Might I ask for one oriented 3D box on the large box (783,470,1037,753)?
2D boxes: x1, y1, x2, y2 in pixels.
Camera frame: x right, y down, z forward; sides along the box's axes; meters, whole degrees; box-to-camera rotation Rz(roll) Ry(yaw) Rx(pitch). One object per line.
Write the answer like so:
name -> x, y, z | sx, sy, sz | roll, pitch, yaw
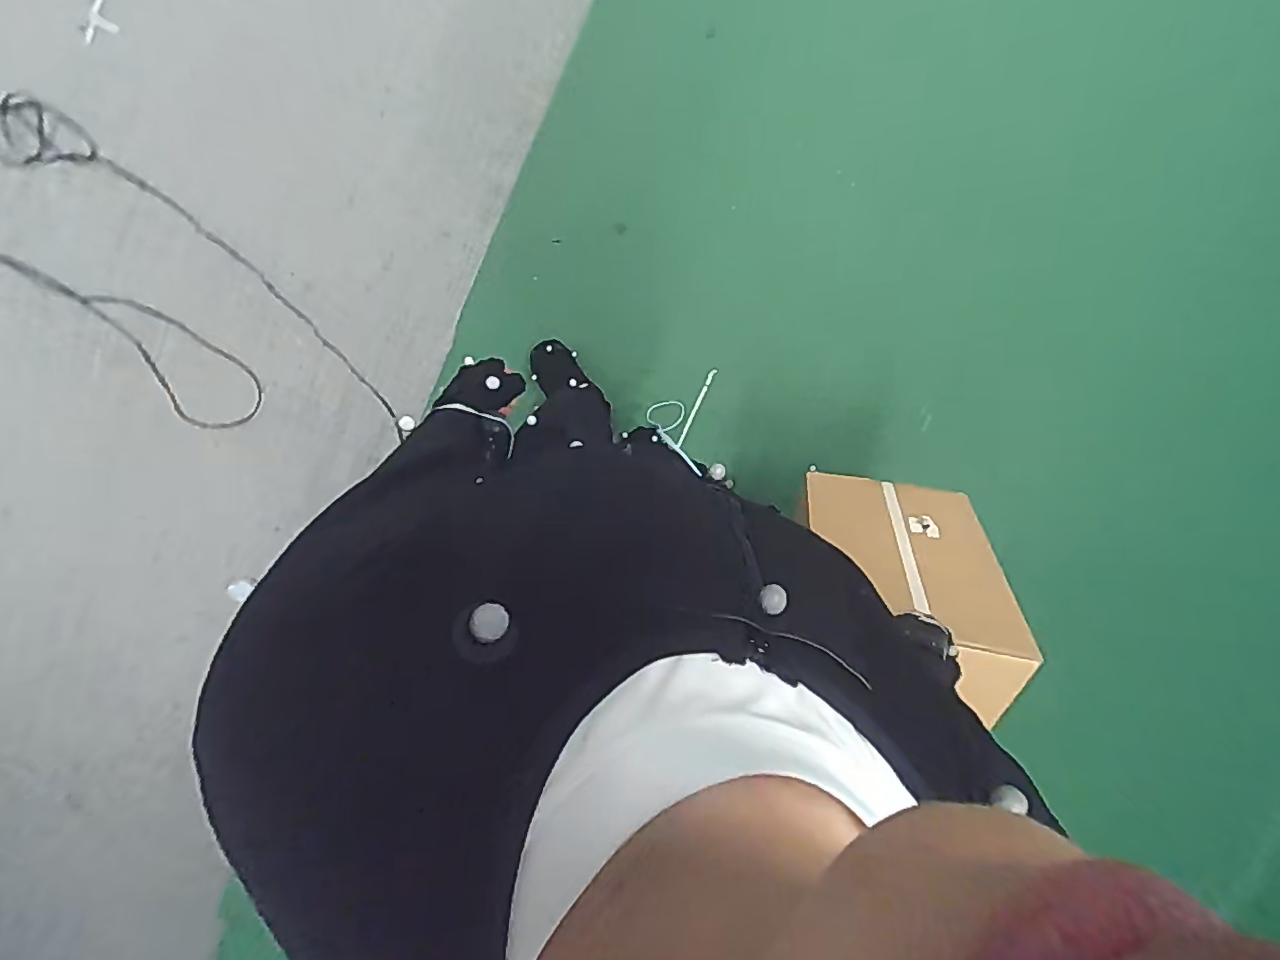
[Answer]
large box -> 0.453, 0.230, 1.031 | 0.320, 0.408, 0.320 | 9, 125, 9
